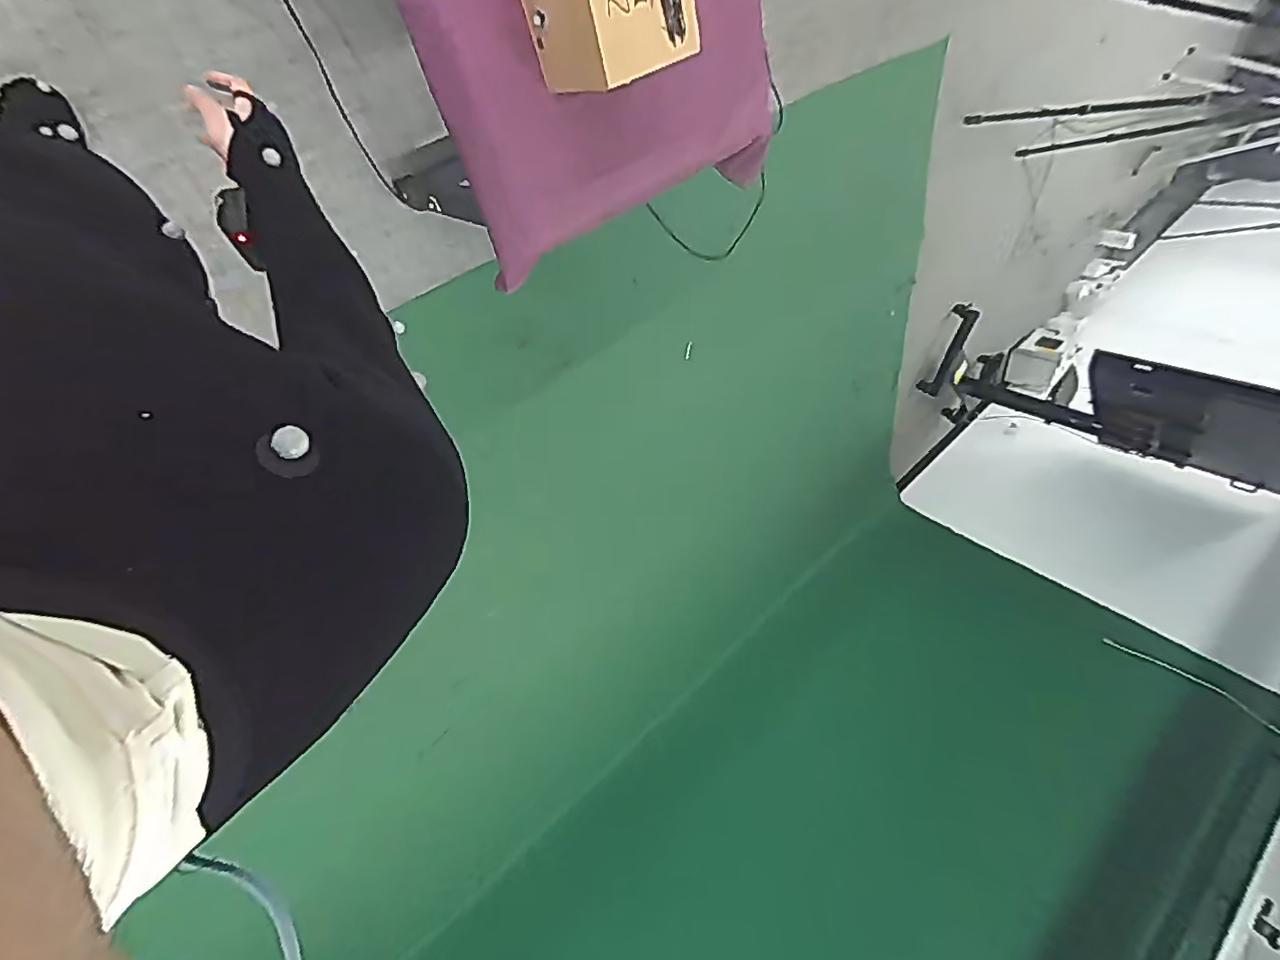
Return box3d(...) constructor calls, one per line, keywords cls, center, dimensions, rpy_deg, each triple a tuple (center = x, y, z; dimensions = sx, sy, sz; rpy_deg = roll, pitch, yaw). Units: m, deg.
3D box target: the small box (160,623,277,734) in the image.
box3d(cls="small box", center=(-1.080, 0.504, 1.388), dimensions=(0.168, 0.176, 0.179), rpy_deg=(-37, 136, -21))
